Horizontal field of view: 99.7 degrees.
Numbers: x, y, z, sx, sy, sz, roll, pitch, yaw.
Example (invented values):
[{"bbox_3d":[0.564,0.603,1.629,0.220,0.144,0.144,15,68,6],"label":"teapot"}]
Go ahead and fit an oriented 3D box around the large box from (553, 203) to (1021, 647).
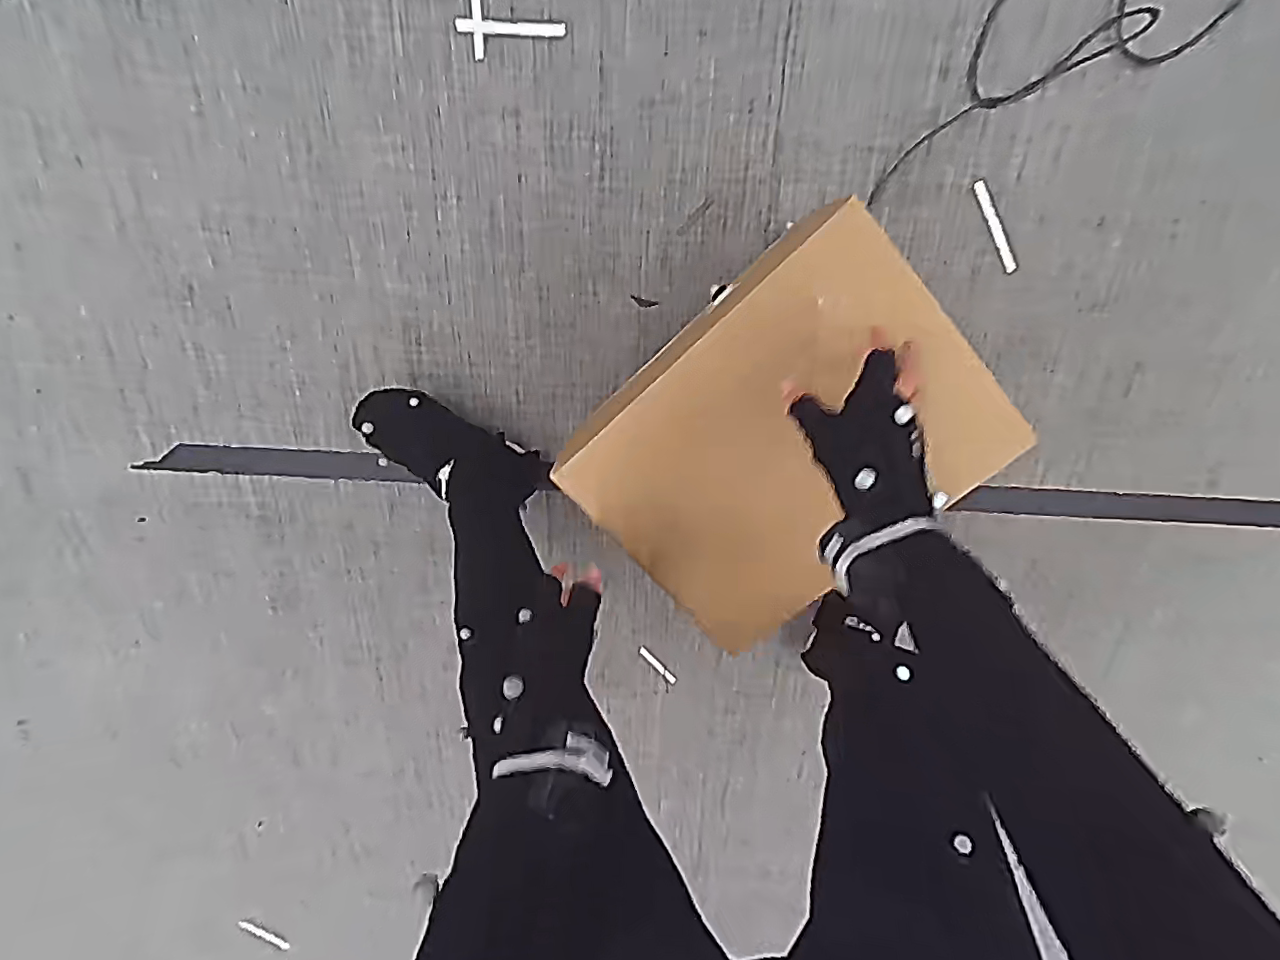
[{"bbox_3d":[0.160,-0.067,0.714,0.408,0.320,0.320,-41,100,16],"label":"large box"}]
